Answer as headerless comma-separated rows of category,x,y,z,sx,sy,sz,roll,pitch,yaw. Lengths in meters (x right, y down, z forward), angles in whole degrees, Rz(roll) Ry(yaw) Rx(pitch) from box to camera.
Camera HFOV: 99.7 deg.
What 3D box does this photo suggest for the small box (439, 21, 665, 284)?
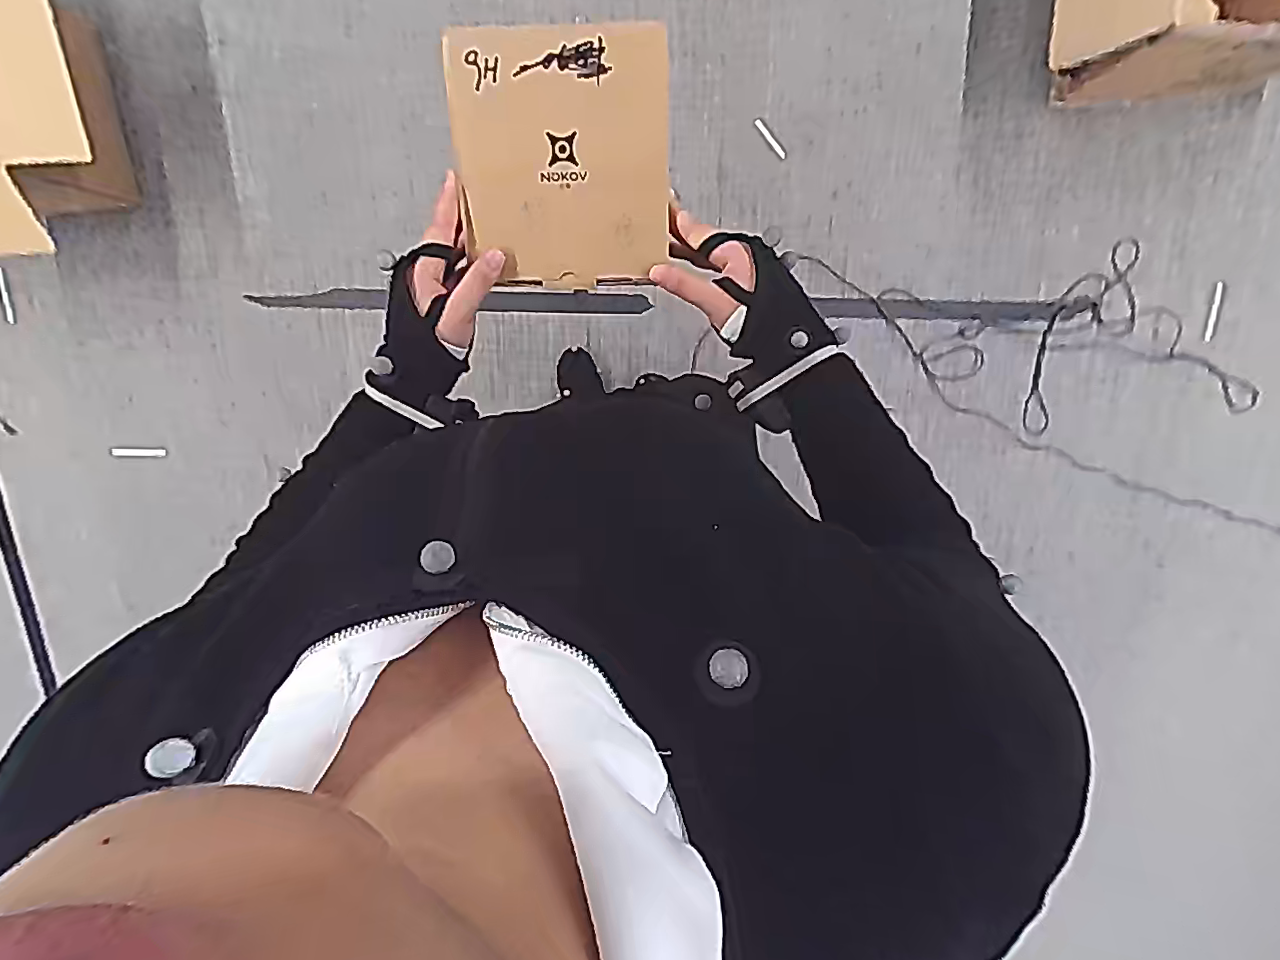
small box,-0.062,-0.272,0.488,0.168,0.176,0.179,0,110,0
